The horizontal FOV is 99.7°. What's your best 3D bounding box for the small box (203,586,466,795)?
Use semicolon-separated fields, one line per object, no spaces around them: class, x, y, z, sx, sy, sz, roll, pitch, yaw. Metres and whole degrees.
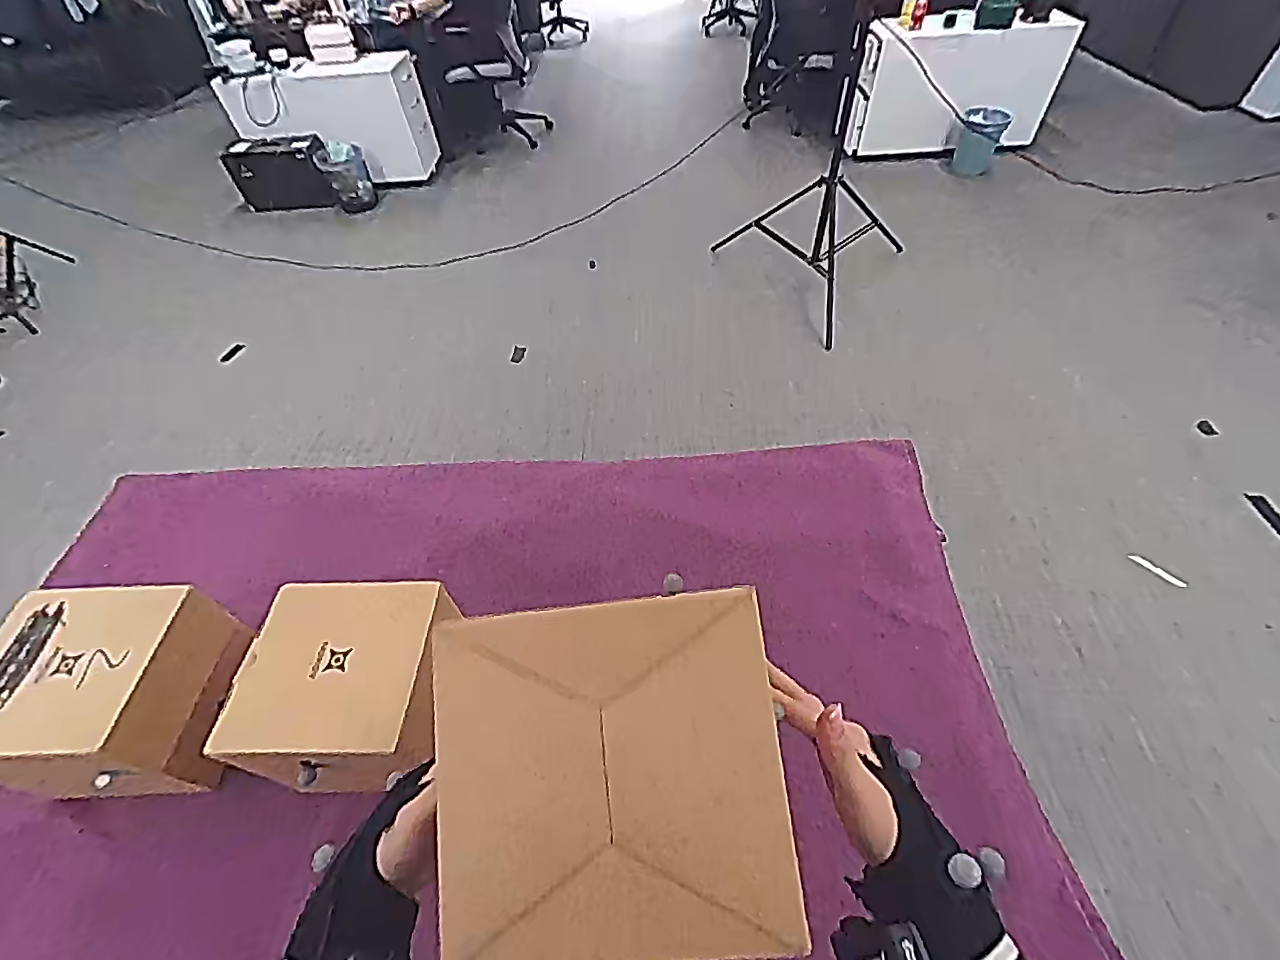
small box;-0.287;0.225;0.574;0.179;0.176;0.168;-2;50;3

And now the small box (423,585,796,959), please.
small box;-0.010;0.164;0.345;0.179;0.176;0.168;-9;80;4
